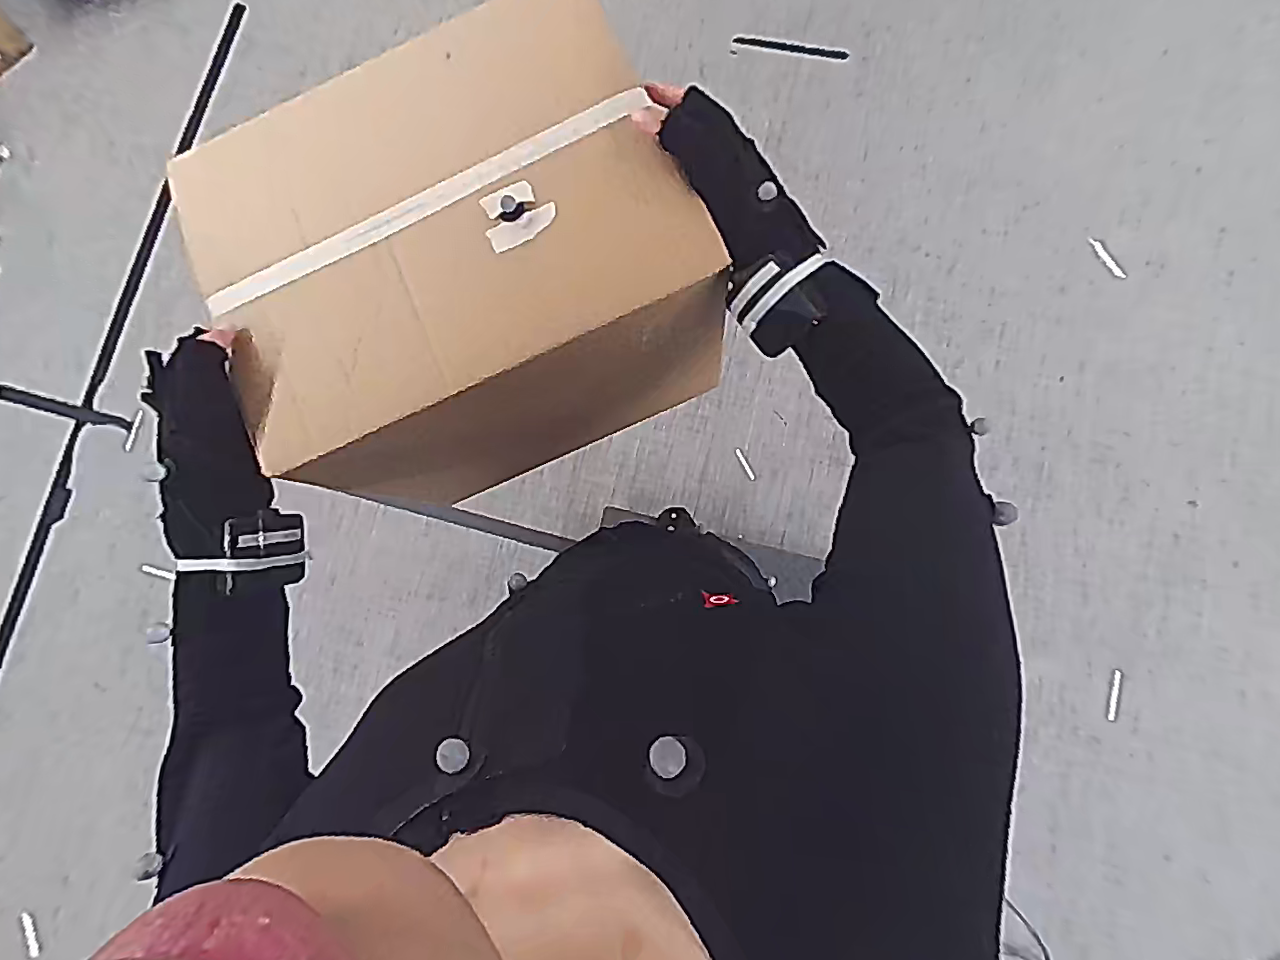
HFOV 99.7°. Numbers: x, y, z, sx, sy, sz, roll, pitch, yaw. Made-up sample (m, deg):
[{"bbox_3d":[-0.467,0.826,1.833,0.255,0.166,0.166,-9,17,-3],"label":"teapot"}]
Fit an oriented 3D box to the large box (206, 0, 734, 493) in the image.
[{"bbox_3d":[-0.147,-0.215,0.606,0.408,0.320,0.320,-23,81,3],"label":"large box"}]
